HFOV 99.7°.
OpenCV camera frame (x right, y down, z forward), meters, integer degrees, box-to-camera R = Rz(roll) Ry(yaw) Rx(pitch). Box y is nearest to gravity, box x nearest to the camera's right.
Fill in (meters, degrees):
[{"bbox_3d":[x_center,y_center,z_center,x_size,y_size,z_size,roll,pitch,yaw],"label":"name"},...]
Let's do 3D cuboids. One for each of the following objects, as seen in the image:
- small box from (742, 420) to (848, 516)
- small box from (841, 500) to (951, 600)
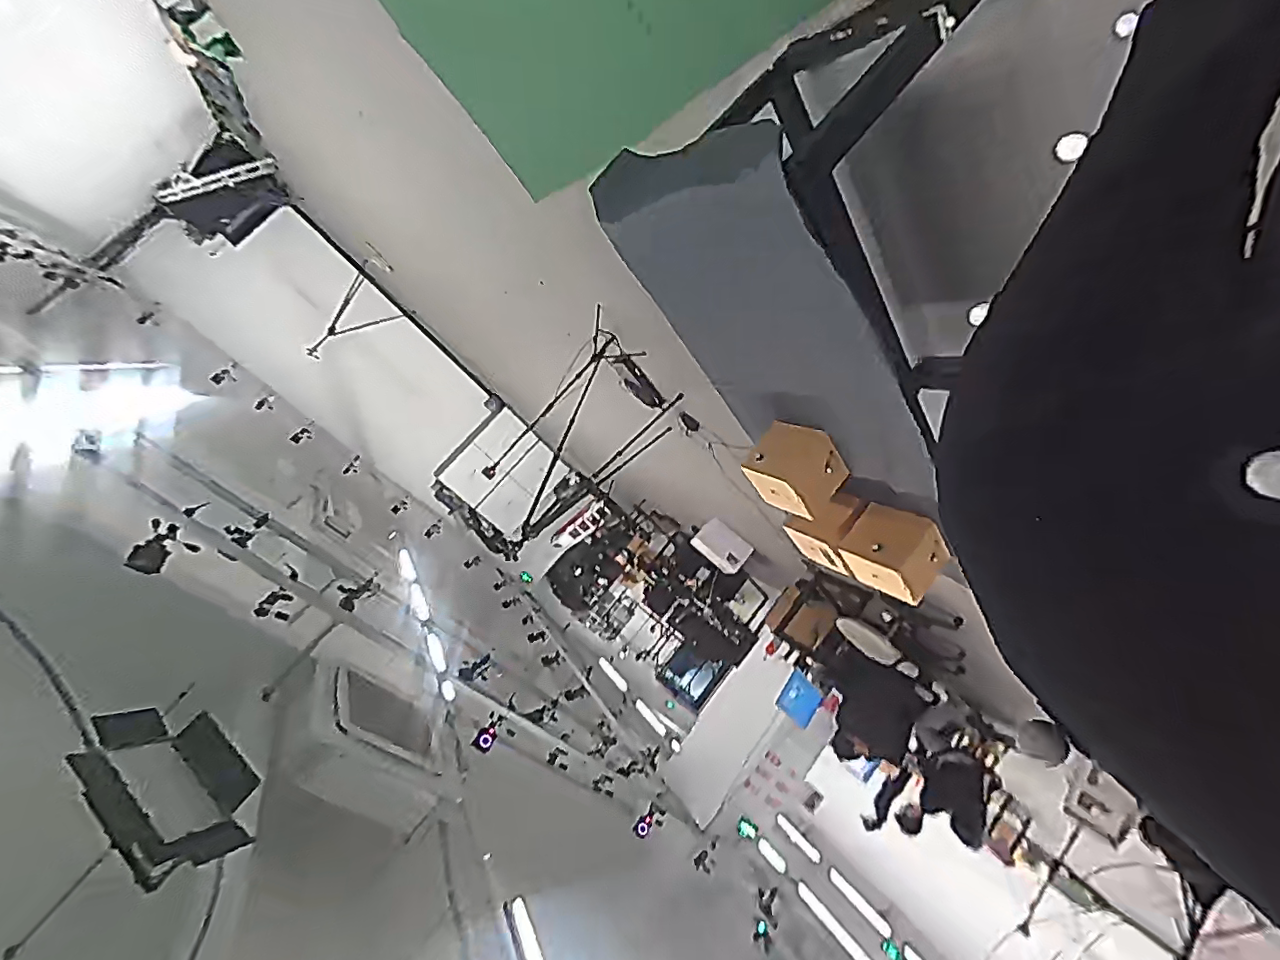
[{"bbox_3d":[0.410,-0.039,1.425,0.168,0.176,0.179,46,167,-33],"label":"small box"},{"bbox_3d":[0.668,0.174,1.410,0.168,0.176,0.179,47,167,-33],"label":"small box"}]
